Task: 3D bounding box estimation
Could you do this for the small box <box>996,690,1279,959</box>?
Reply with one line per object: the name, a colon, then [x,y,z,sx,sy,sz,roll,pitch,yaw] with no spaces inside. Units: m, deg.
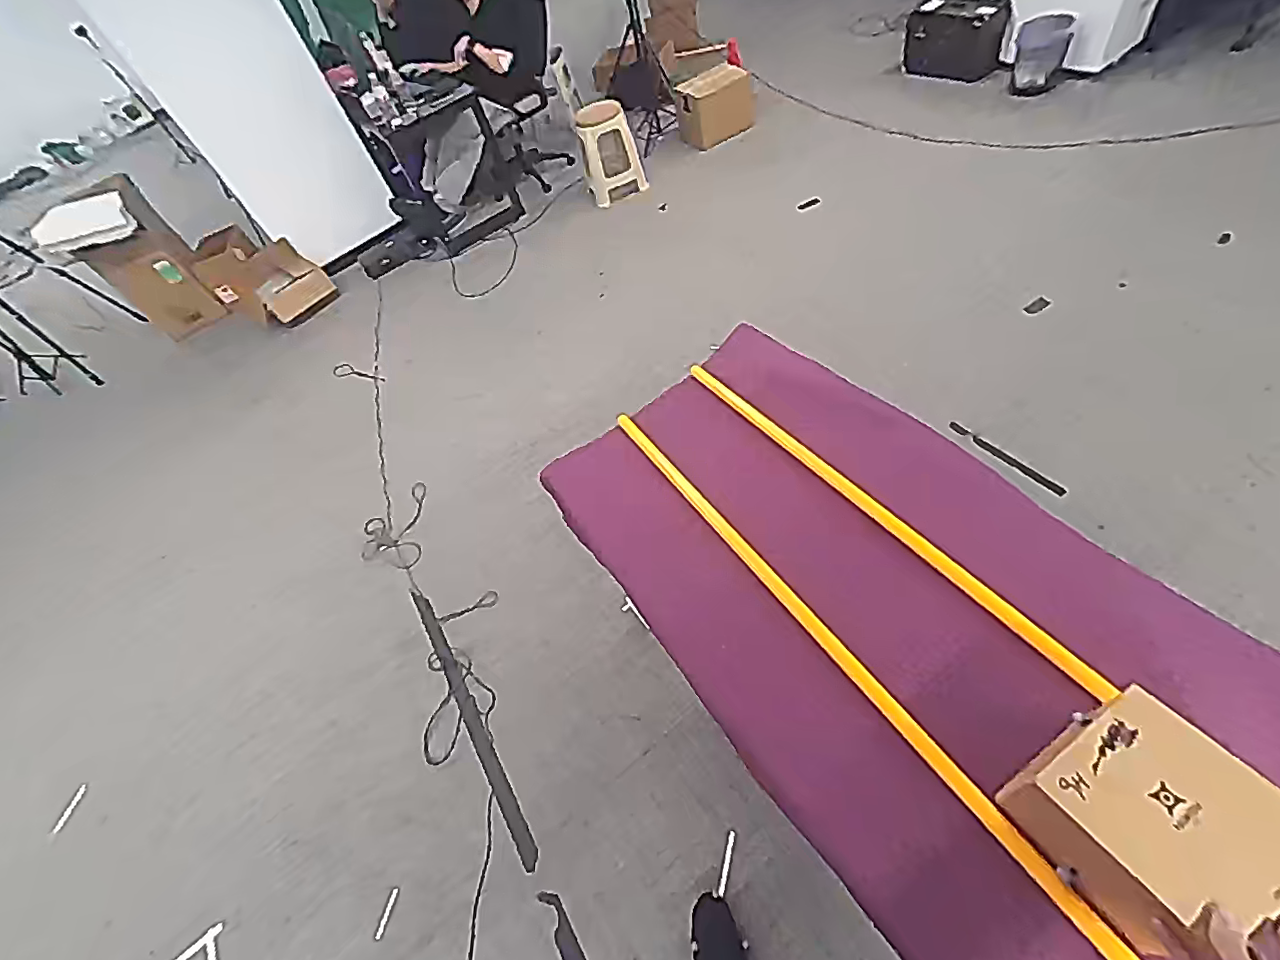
small box: [0.537,0.366,0.585,0.168,0.176,0.179,-34,52,-9]
